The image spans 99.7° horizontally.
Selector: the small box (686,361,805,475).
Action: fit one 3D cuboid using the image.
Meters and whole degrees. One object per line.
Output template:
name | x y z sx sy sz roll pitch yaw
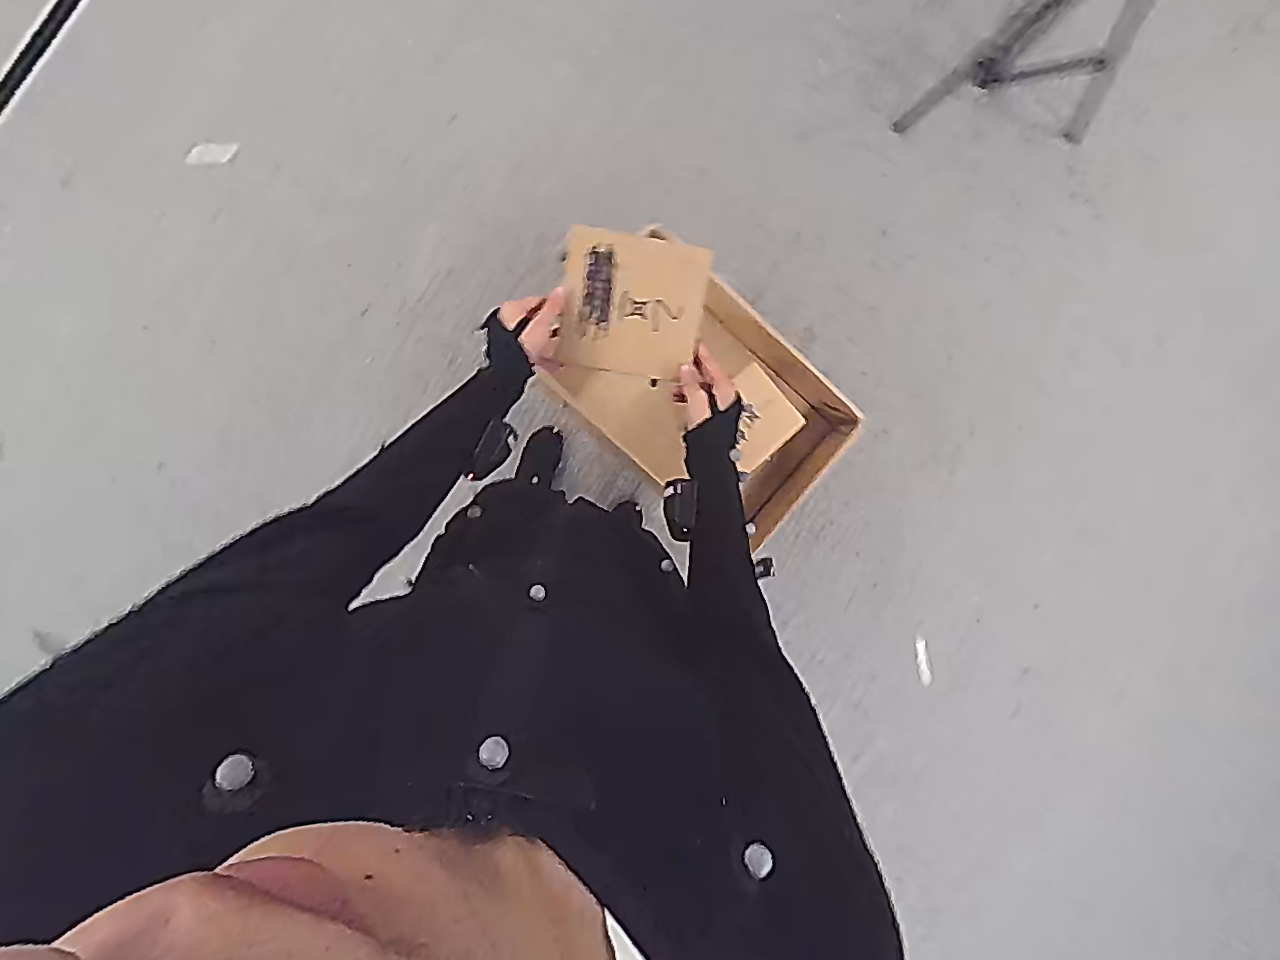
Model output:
small box | 0.214 -0.124 1.163 0.179 0.176 0.168 -41 94 -4
